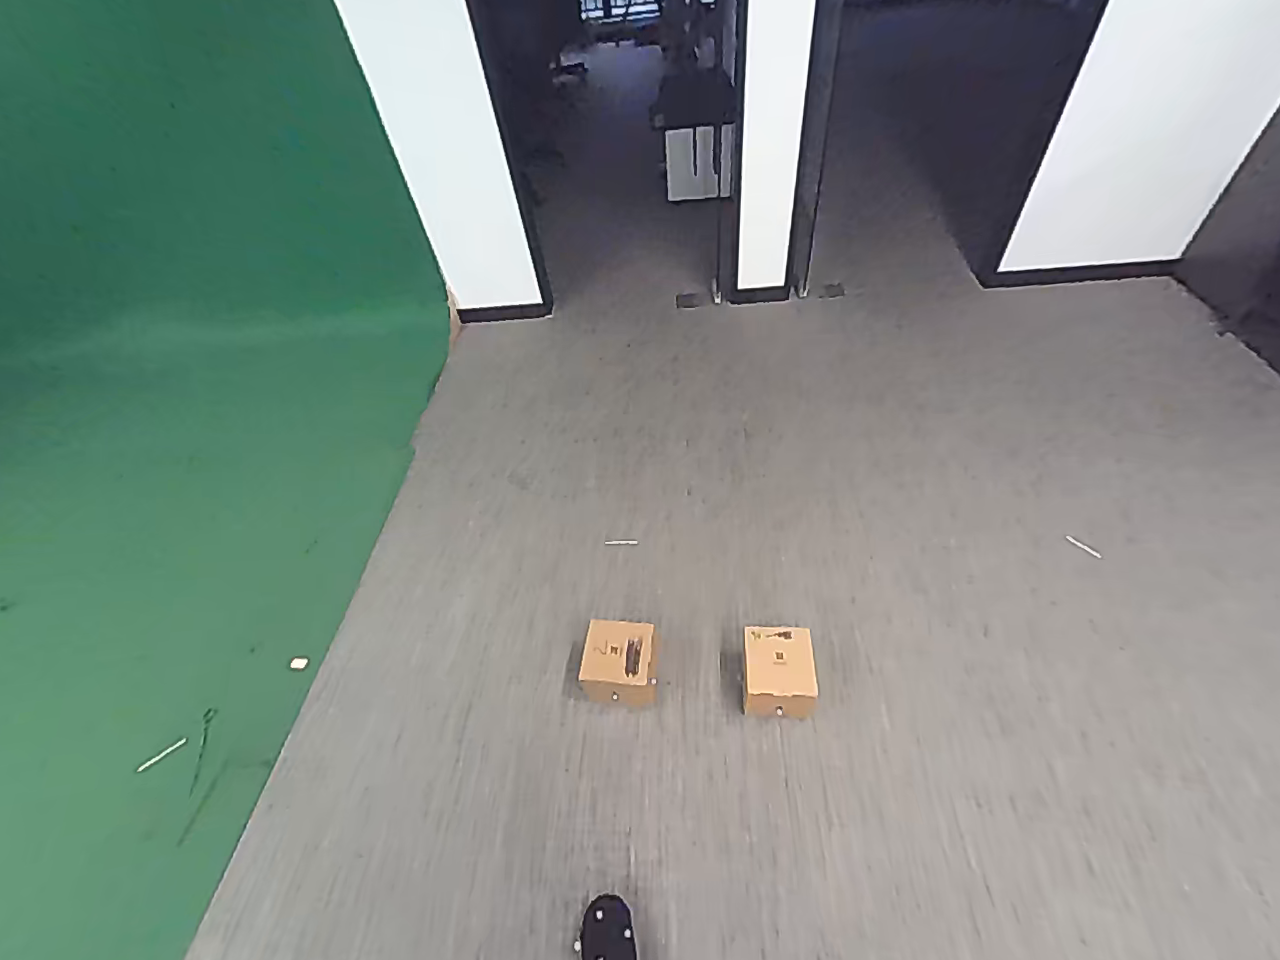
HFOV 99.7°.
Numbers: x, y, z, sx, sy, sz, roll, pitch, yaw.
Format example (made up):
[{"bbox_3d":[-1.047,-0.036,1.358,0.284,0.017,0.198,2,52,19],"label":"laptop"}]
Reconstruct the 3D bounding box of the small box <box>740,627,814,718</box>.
[{"bbox_3d":[0.346,0.498,1.393,0.168,0.176,0.179,0,49,7],"label":"small box"}]
